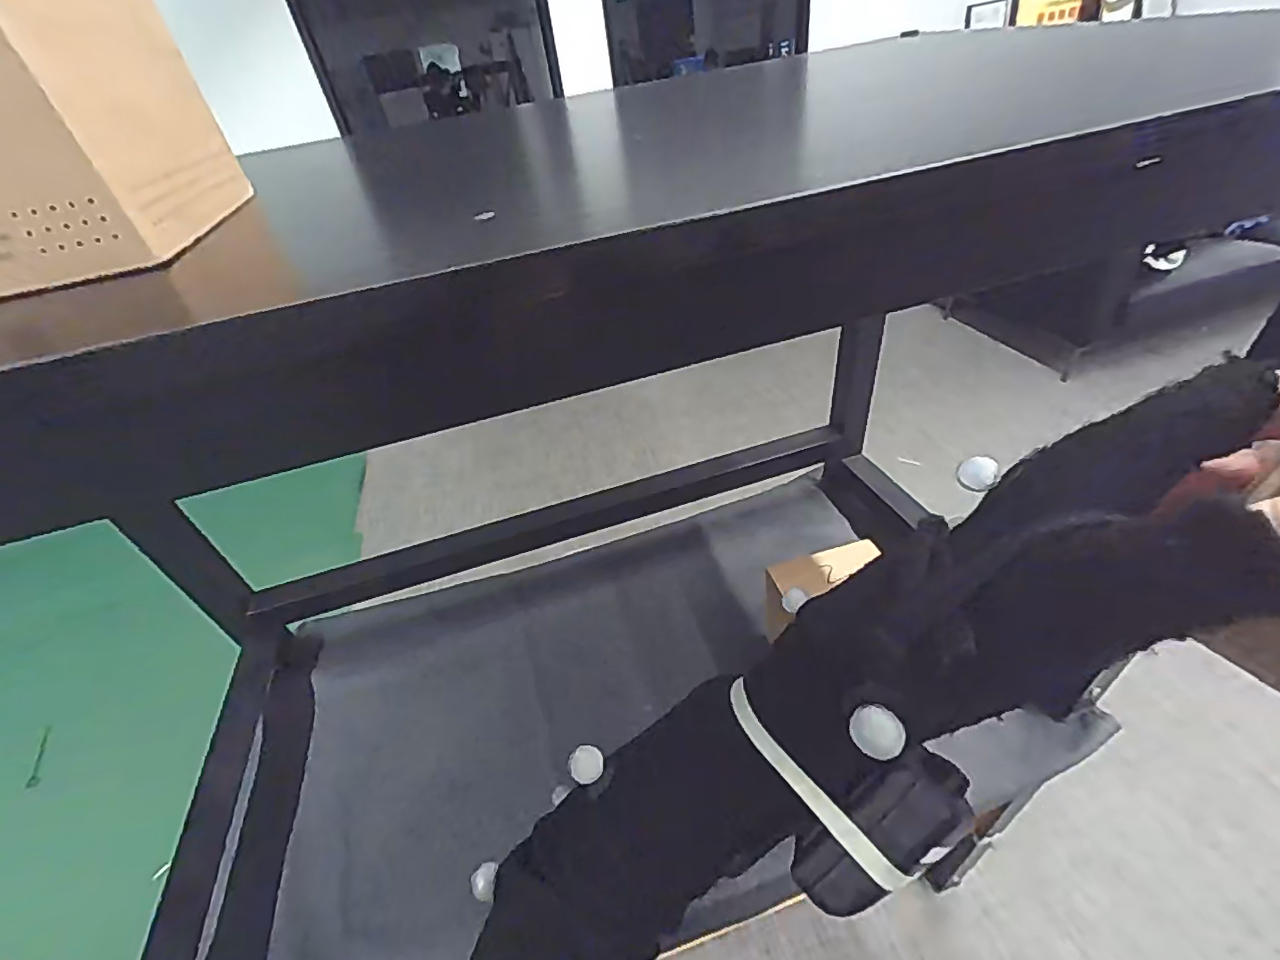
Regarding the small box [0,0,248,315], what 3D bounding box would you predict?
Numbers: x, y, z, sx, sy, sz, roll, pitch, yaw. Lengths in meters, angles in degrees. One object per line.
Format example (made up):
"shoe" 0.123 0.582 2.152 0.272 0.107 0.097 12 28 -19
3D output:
"small box" -0.311 -0.170 0.229 0.168 0.176 0.179 -17 39 -10
